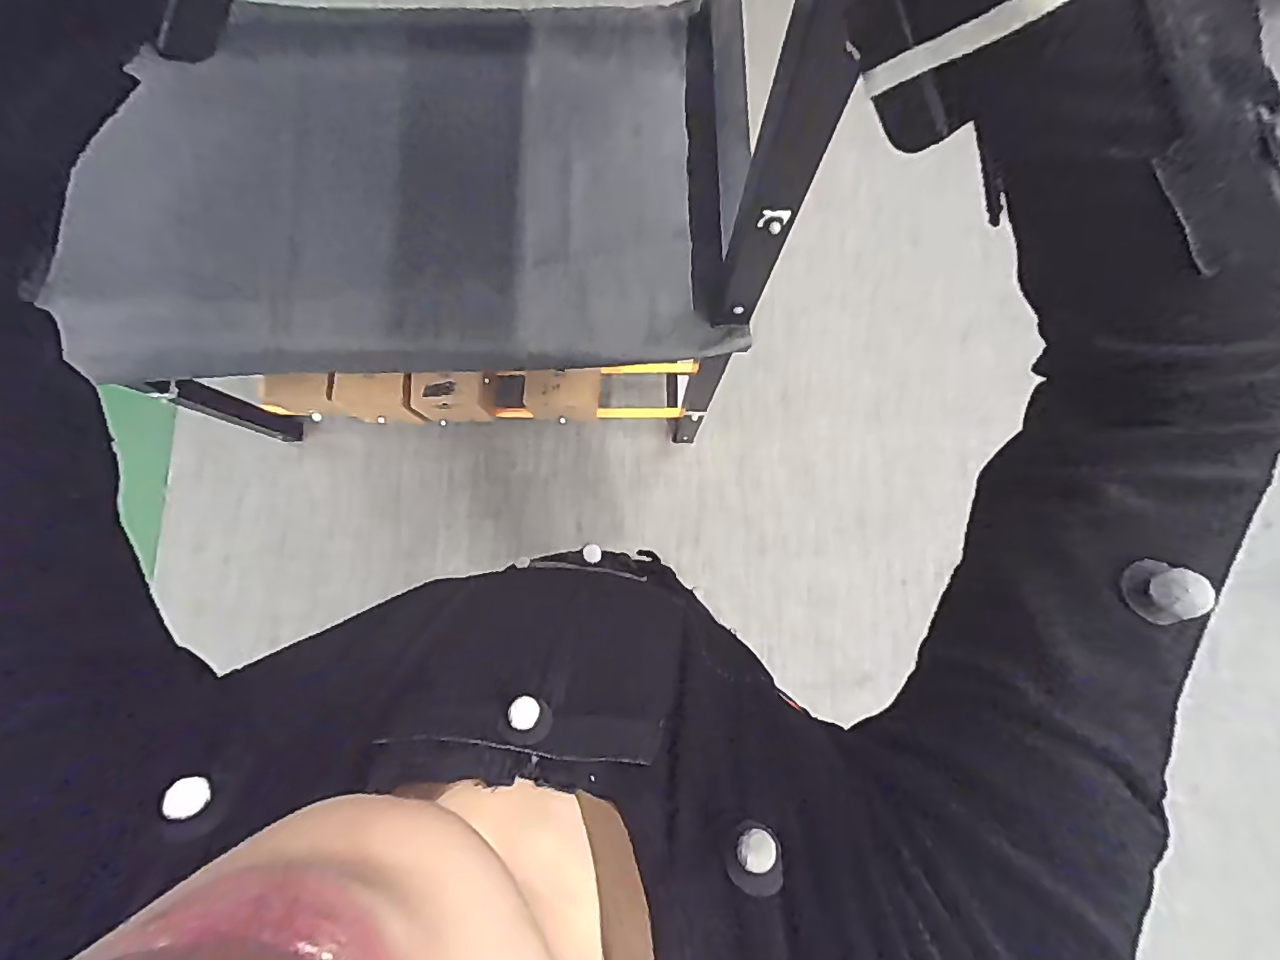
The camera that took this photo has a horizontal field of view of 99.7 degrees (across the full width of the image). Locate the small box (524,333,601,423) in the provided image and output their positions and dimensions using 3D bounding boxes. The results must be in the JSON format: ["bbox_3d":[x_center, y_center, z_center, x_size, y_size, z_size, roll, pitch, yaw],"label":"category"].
[{"bbox_3d":[-0.192,-0.258,1.394,0.168,0.176,0.179,5,83,1],"label":"small box"}]
